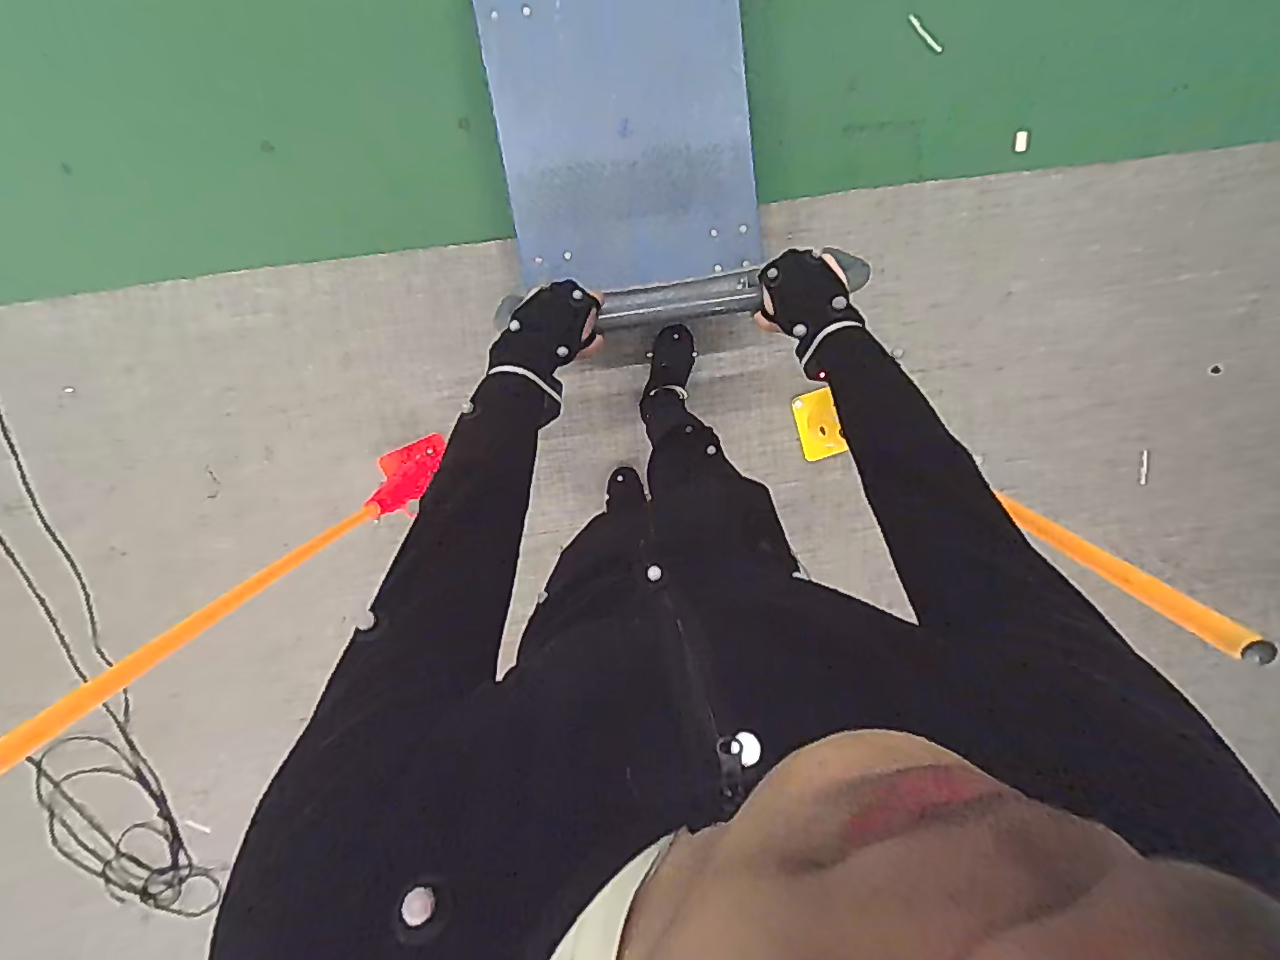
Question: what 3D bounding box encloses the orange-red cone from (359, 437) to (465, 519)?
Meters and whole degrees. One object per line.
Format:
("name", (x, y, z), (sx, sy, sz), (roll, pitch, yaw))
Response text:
("orange-red cone", (-0.614, 0.032, 1.372), (0.199, 0.360, 0.198), (-22, 102, 4))
